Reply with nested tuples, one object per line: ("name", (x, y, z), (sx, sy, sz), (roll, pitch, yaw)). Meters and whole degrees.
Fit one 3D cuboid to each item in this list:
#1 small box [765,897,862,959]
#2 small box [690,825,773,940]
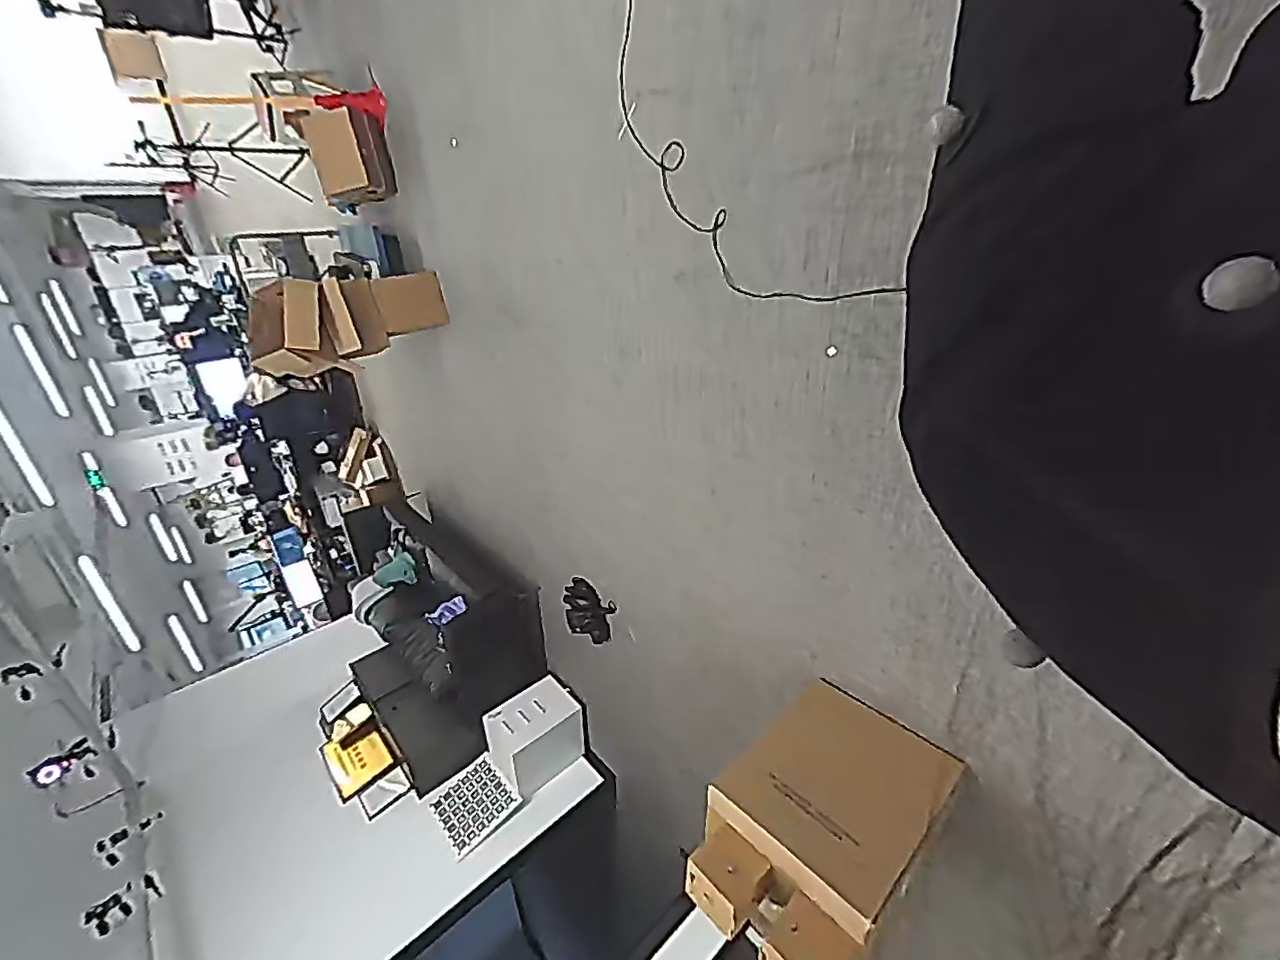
("small box", (0.447, 1.240, 1.405), (0.179, 0.176, 0.168), (20, 121, 42))
("small box", (0.268, 1.166, 1.582), (0.179, 0.176, 0.168), (24, 123, 42))
